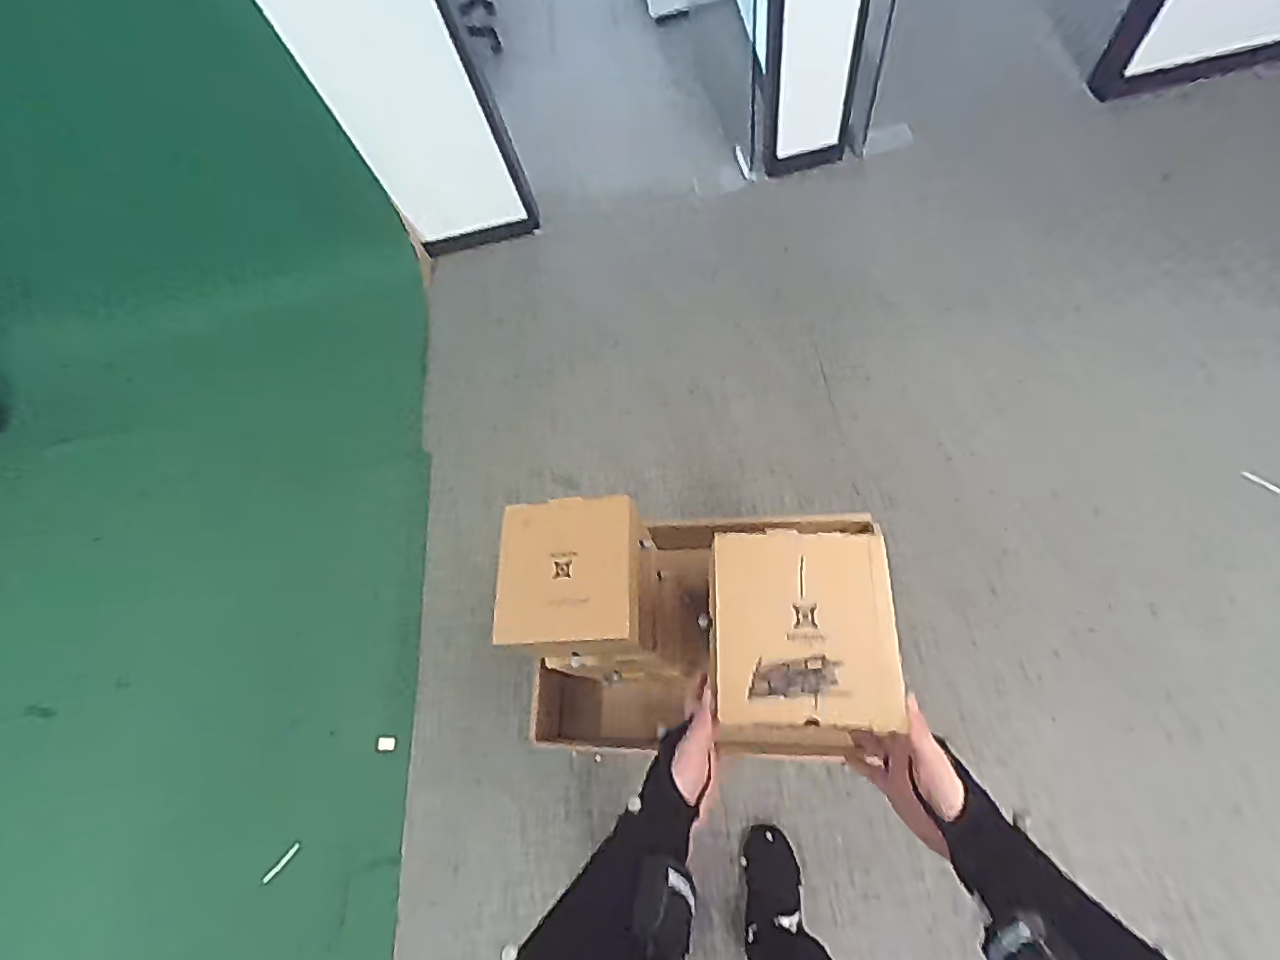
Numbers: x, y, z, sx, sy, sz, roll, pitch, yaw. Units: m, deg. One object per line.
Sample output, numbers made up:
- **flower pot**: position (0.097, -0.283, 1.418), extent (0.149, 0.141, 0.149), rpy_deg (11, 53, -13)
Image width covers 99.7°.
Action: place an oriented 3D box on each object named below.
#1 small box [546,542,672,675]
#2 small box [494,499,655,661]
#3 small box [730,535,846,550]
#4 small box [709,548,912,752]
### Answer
- **small box**: position (-0.042, 0.210, 0.856), extent (0.168, 0.176, 0.179), rpy_deg (-5, 67, 8)
- **small box**: position (-0.074, 0.139, 0.712), extent (0.168, 0.176, 0.179), rpy_deg (-4, 67, 9)
- **small box**: position (0.218, 0.192, 0.820), extent (0.168, 0.176, 0.179), rpy_deg (-1, 68, 10)
- **small box**: position (0.161, 0.174, 0.569), extent (0.168, 0.176, 0.179), rpy_deg (0, 71, 4)
